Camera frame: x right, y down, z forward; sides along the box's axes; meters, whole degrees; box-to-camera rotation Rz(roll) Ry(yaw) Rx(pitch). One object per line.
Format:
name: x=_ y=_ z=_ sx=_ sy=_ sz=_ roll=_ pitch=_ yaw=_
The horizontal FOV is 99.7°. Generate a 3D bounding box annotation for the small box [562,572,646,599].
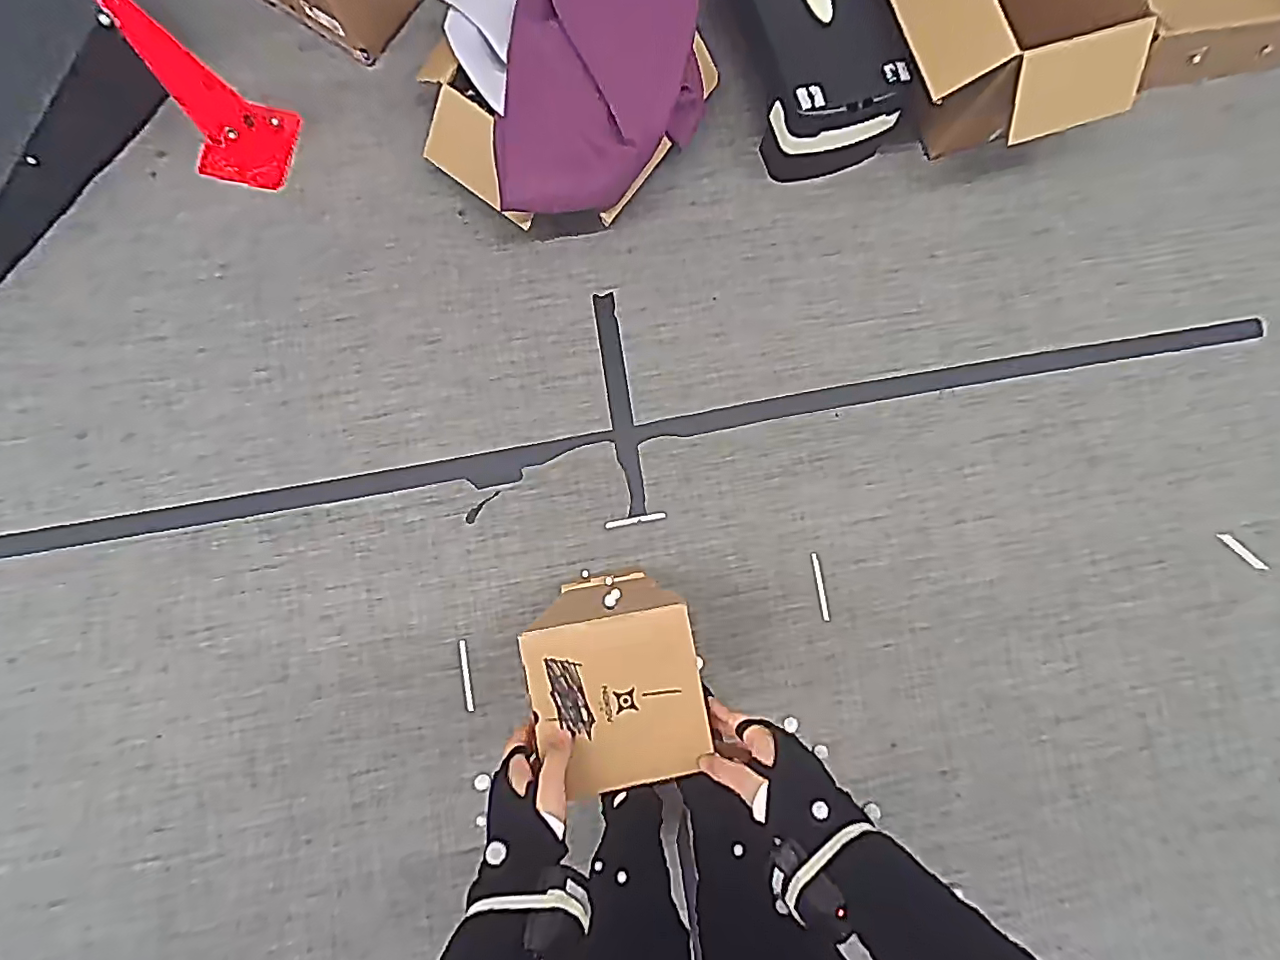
small box: x=-0.060 y=0.288 z=1.106 sx=0.168 sy=0.176 sz=0.179 roll=-10 pitch=86 yaw=-3

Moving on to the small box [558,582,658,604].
small box: x=-0.044 y=0.277 z=0.942 sx=0.168 sy=0.176 sz=0.179 roll=-9 pitch=84 yaw=-2

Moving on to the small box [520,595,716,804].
small box: x=-0.025 y=0.232 z=0.617 sx=0.179 sy=0.176 sz=0.168 roll=-10 pitch=84 yaw=-4

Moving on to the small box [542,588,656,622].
small box: x=-0.038 y=0.261 z=0.779 sx=0.168 sy=0.176 sz=0.179 roll=-9 pitch=85 yaw=-3
